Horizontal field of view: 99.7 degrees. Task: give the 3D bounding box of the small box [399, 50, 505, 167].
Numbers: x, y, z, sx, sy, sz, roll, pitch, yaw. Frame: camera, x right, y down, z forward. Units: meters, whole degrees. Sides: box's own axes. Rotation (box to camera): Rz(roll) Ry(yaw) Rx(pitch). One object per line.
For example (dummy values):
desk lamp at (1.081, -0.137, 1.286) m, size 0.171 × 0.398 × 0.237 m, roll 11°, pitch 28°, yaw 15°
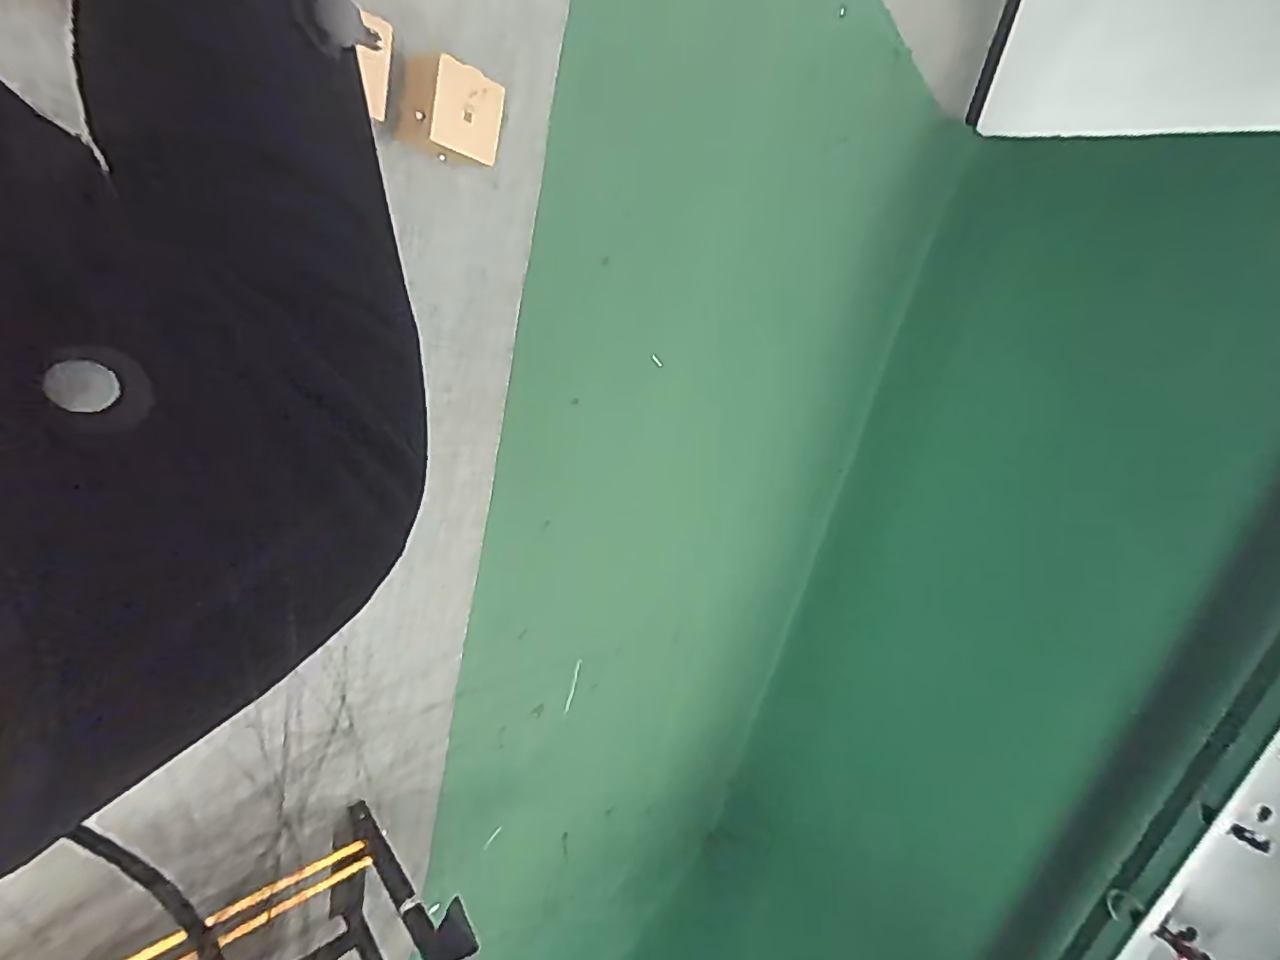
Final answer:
small box at (-0.447, -0.863, 1.272) m, size 0.168 × 0.176 × 0.179 m, roll -4°, pitch 115°, yaw -49°
